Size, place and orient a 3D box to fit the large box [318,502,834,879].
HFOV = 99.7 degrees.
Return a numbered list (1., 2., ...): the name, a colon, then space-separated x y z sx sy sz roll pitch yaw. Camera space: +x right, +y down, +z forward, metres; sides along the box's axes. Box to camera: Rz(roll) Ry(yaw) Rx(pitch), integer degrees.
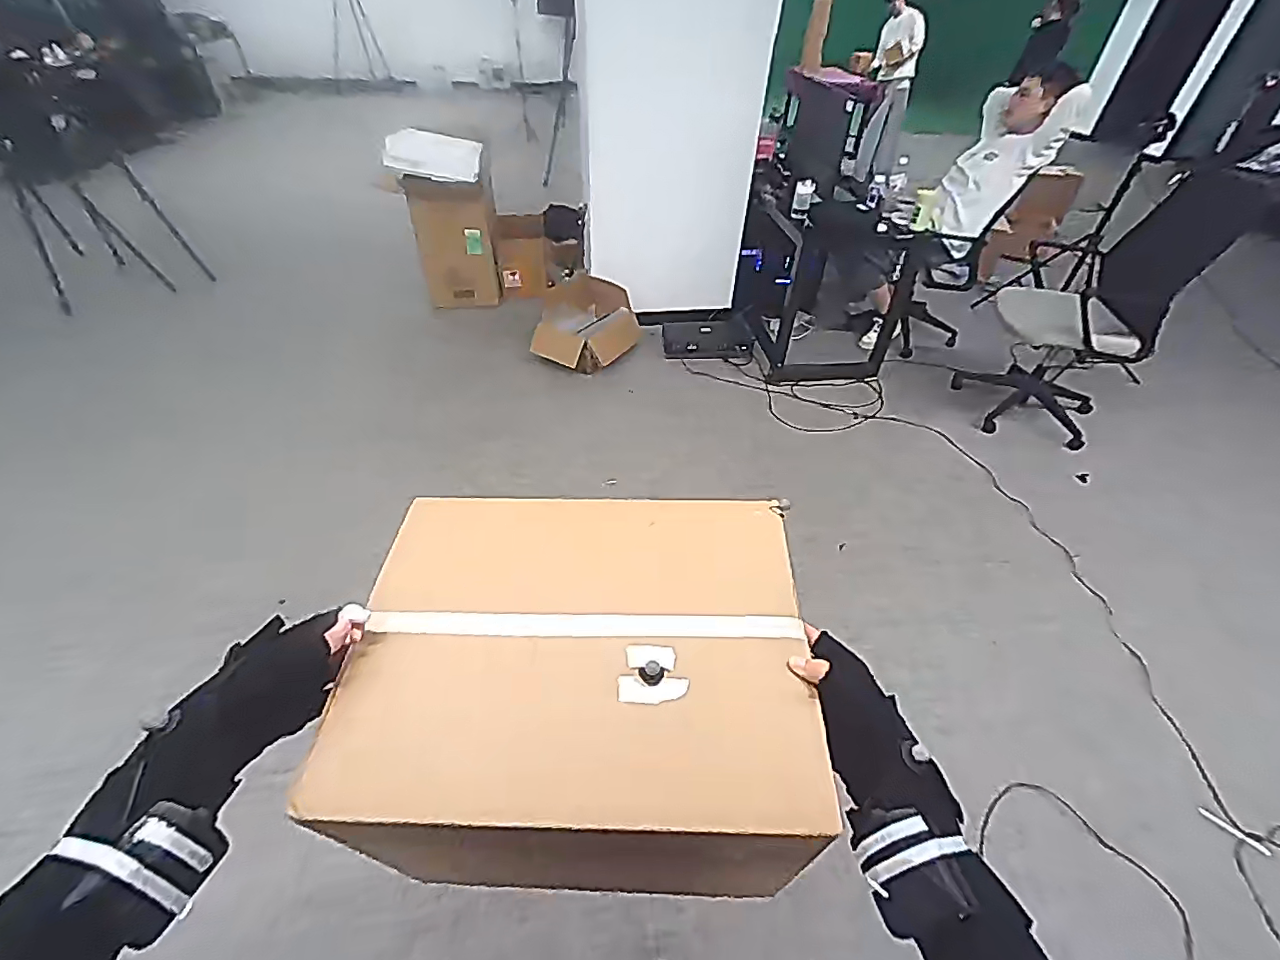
1. large box: -0.048 0.240 0.618 0.408 0.320 0.320 1 47 1
